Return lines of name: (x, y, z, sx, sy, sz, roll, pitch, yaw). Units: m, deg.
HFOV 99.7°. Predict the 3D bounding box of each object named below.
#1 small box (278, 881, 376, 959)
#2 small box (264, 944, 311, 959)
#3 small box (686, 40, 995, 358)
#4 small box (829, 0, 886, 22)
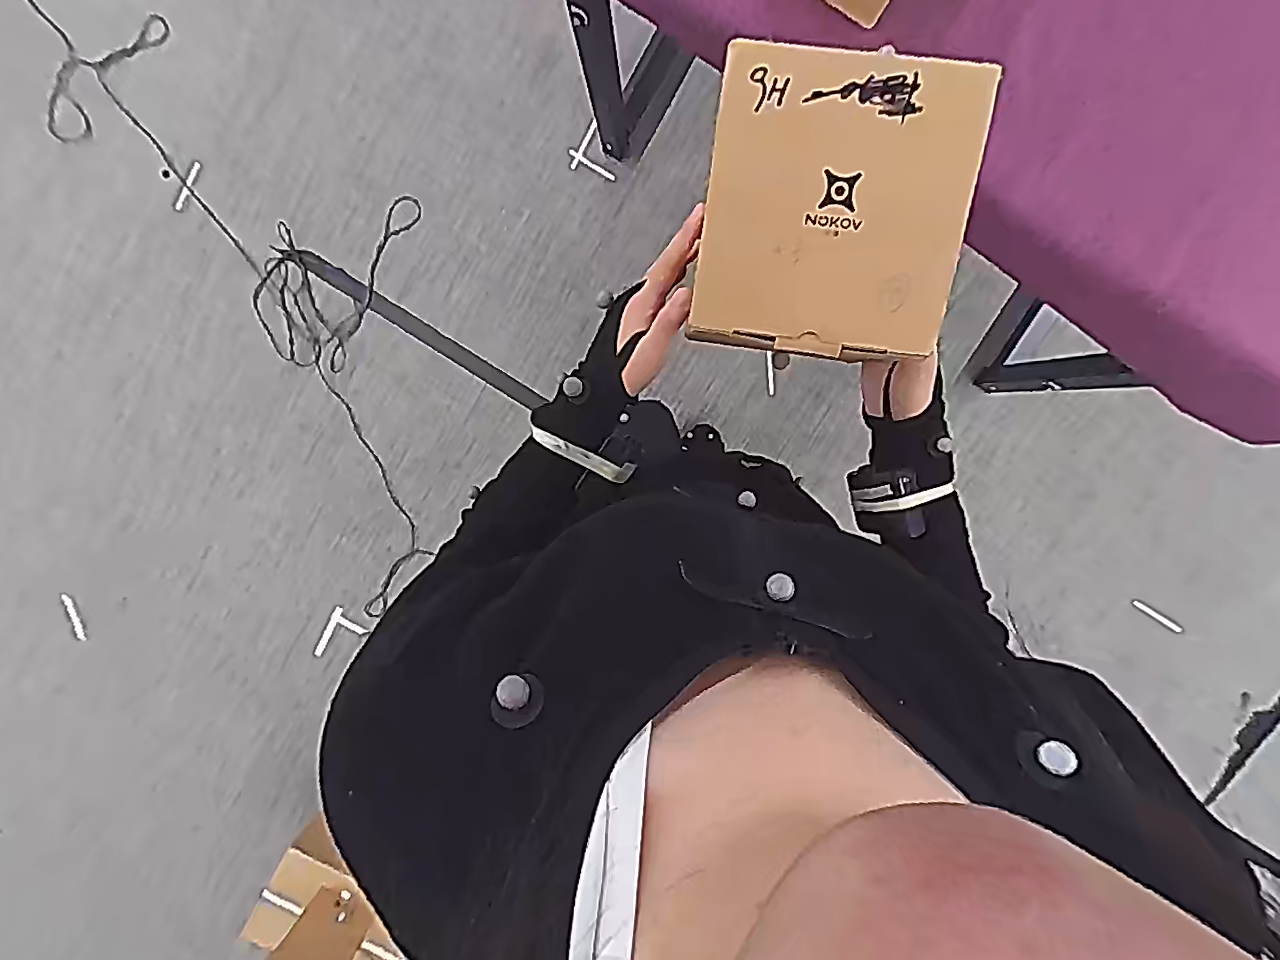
small box: (-0.785, 1.148, 1.321, 0.168, 0.176, 0.179, 29, 98, -2)
small box: (-0.793, 1.164, 1.160, 0.168, 0.176, 0.179, 27, 99, -1)
small box: (0.131, -0.197, 0.429, 0.168, 0.176, 0.179, 8, 103, 2)
small box: (0.258, -0.666, 0.584, 0.168, 0.176, 0.179, 32, 97, -3)
